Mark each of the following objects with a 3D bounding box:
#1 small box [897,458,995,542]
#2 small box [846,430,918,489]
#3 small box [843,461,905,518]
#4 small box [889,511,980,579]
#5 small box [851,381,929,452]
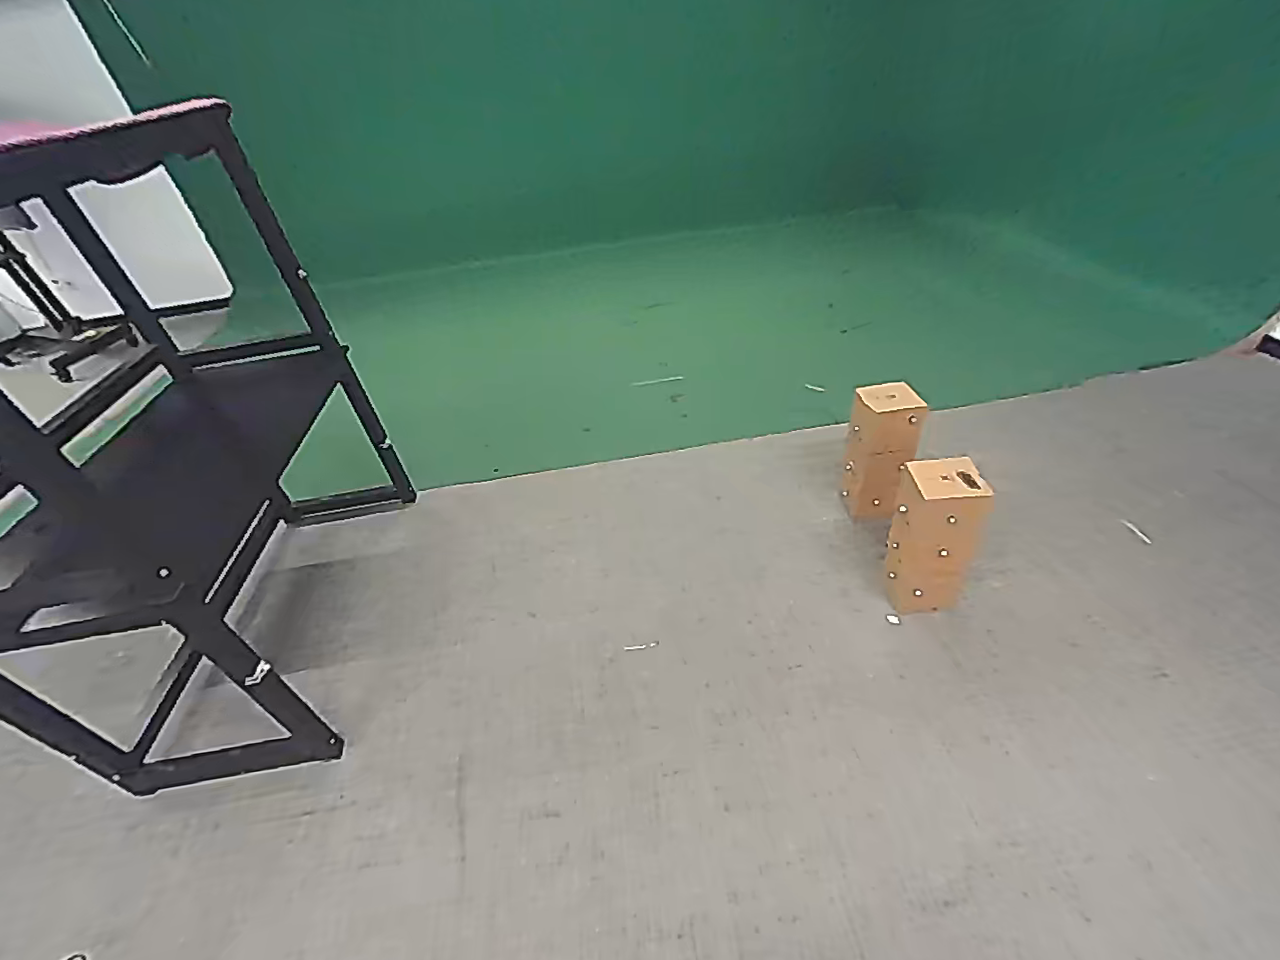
[{"bbox_3d":[0.850,0.058,1.520,0.179,0.176,0.168,-4,40,7],"label":"small box"},{"bbox_3d":[0.863,-0.090,1.945,0.179,0.176,0.168,-9,39,0],"label":"small box"},{"bbox_3d":[0.882,0.030,2.052,0.179,0.176,0.168,-7,40,3],"label":"small box"},{"bbox_3d":[0.877,0.181,1.626,0.179,0.176,0.168,-5,40,5],"label":"small box"},{"bbox_3d":[0.842,-0.213,1.837,0.179,0.176,0.168,-8,39,0],"label":"small box"}]
